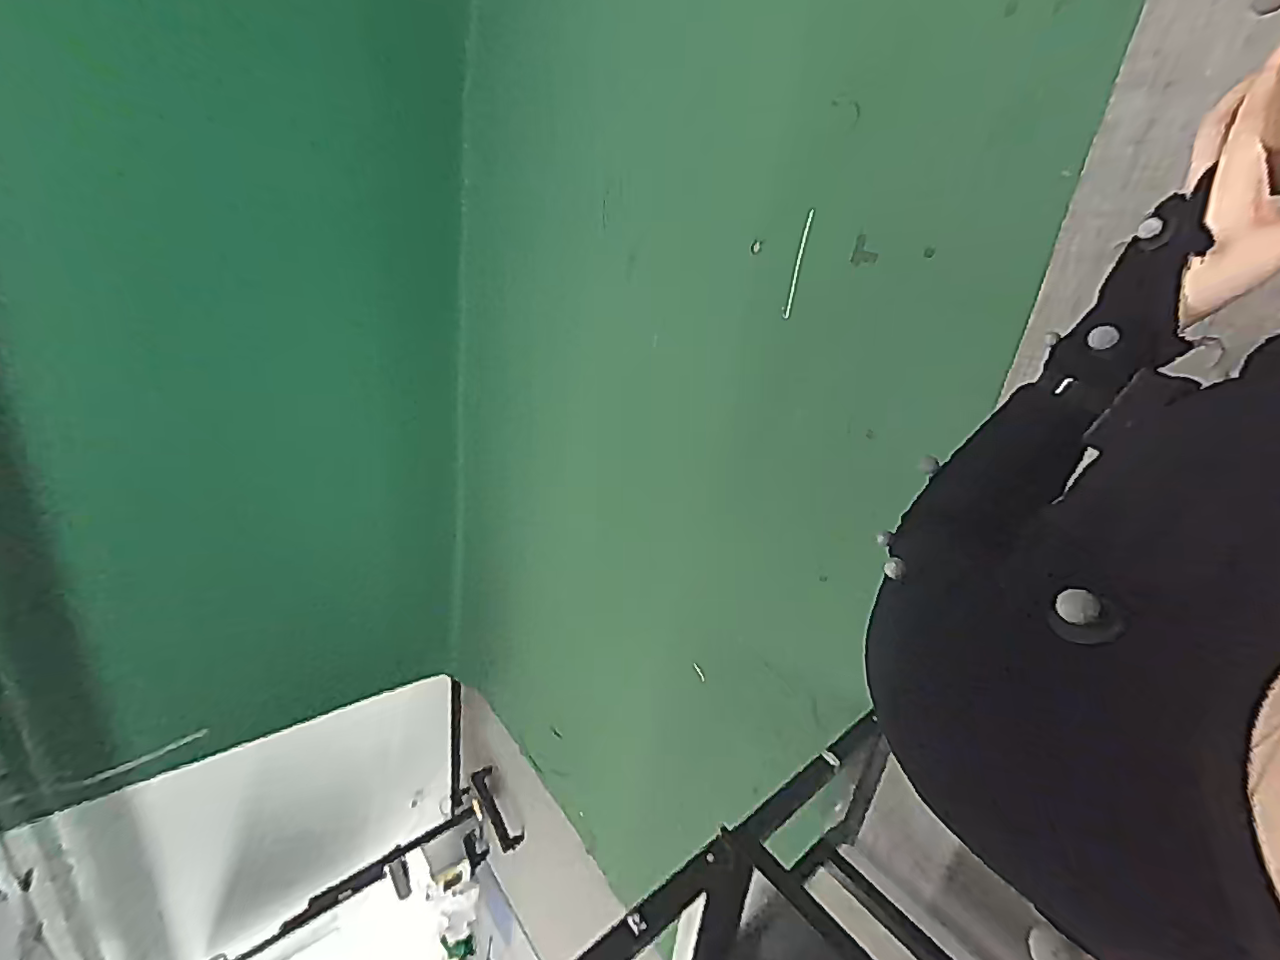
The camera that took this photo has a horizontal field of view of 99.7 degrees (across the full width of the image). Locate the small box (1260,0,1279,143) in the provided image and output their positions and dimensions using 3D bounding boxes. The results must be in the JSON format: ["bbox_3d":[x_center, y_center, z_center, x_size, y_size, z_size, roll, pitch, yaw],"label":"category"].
[{"bbox_3d":[0.408,-0.269,0.227,0.168,0.176,0.179,17,98,44],"label":"small box"}]
